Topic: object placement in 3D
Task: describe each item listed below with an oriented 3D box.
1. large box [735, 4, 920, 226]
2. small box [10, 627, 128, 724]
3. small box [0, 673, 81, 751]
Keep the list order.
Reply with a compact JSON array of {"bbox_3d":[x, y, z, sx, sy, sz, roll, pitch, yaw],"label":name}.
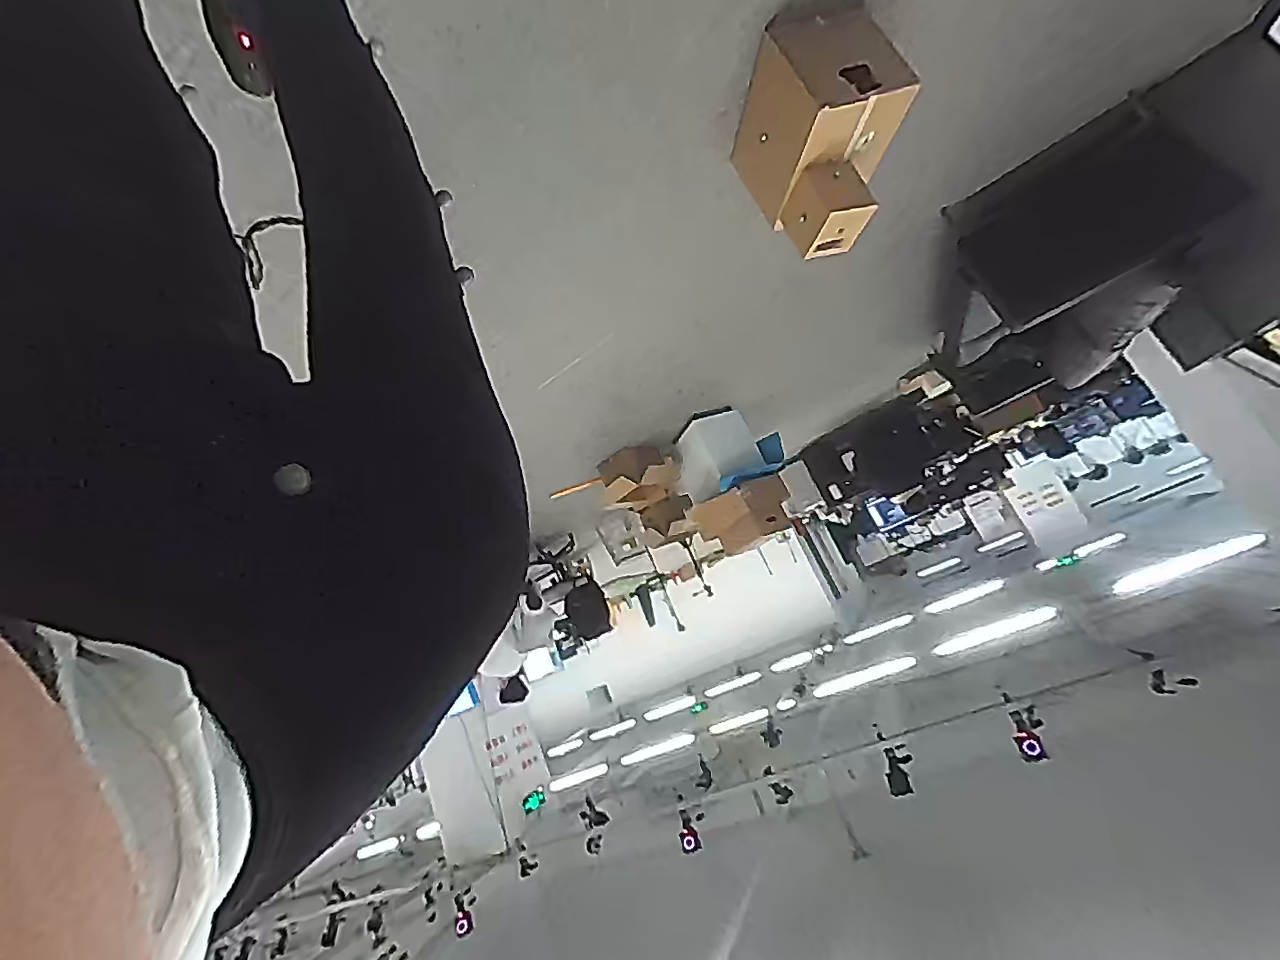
[{"bbox_3d":[0.509,-1.041,1.576,0.320,0.320,0.408,-22,164,-10],"label":"large box"},{"bbox_3d":[-1.435,0.485,1.359,0.179,0.176,0.168,-28,164,23],"label":"small box"},{"bbox_3d":[-1.673,0.617,1.462,0.168,0.176,0.179,-30,163,21],"label":"small box"}]
